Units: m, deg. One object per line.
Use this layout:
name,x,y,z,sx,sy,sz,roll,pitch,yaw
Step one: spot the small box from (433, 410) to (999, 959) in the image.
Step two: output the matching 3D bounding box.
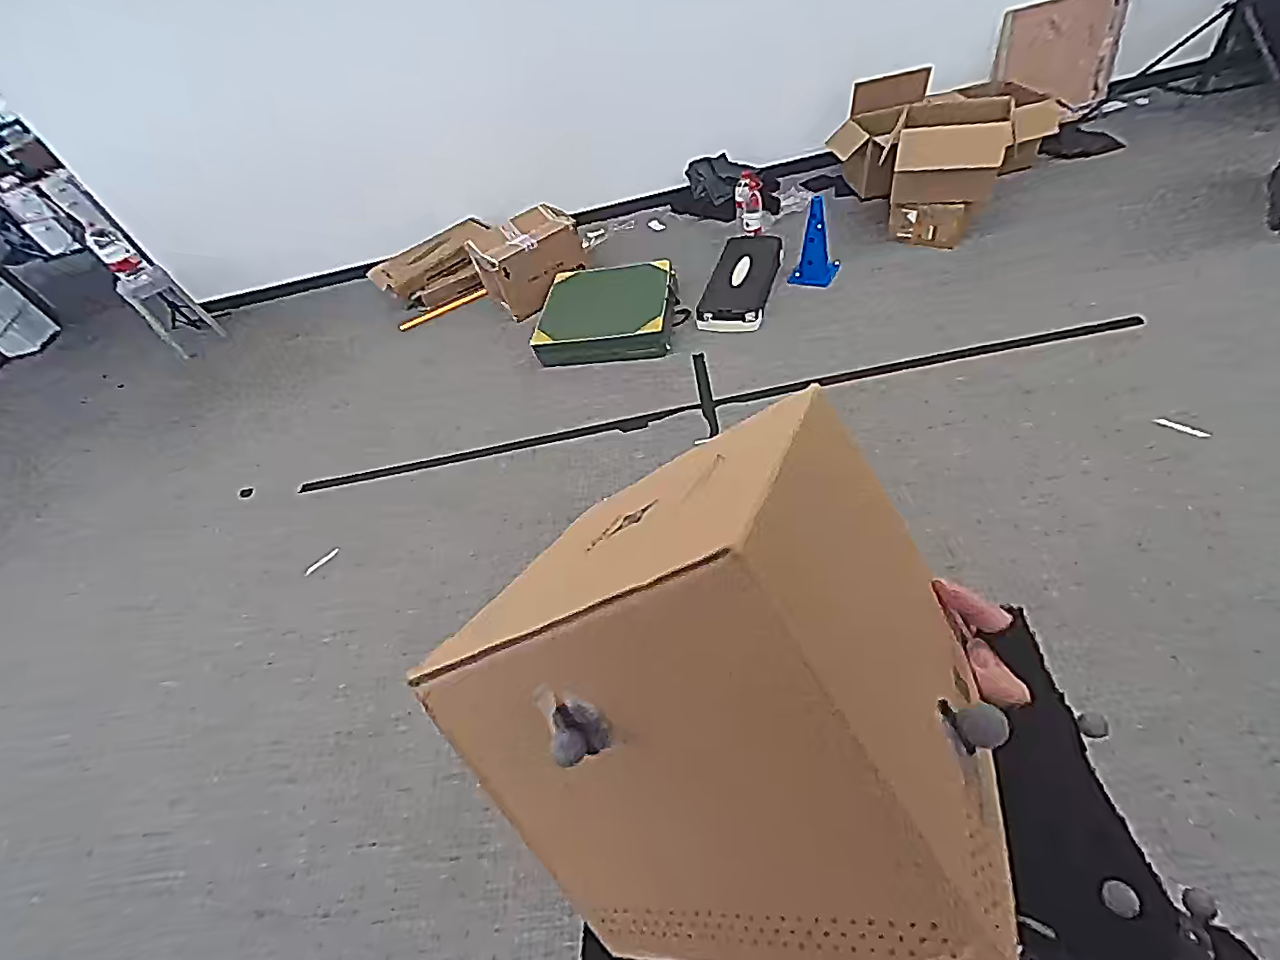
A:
small box,0.042,0.096,0.277,0.179,0.176,0.168,-30,8,33
